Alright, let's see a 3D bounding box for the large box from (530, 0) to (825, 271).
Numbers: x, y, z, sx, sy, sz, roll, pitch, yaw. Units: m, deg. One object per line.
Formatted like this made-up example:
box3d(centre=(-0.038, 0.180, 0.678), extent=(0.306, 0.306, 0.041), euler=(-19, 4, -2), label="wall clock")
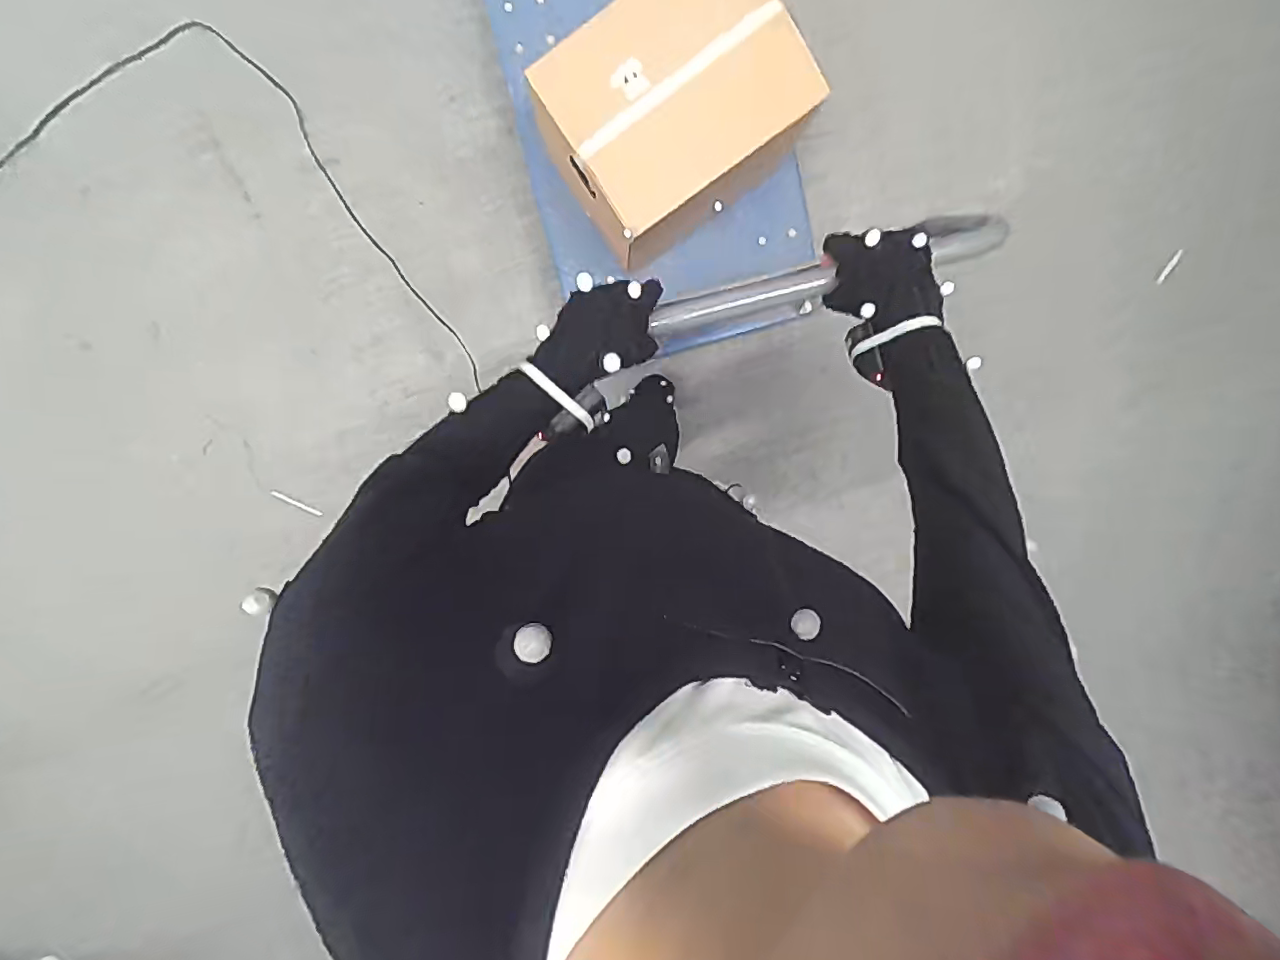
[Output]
box3d(centre=(0.060, -0.672, 1.035), extent=(0.408, 0.320, 0.320), euler=(-34, 99, 4), label="large box")
